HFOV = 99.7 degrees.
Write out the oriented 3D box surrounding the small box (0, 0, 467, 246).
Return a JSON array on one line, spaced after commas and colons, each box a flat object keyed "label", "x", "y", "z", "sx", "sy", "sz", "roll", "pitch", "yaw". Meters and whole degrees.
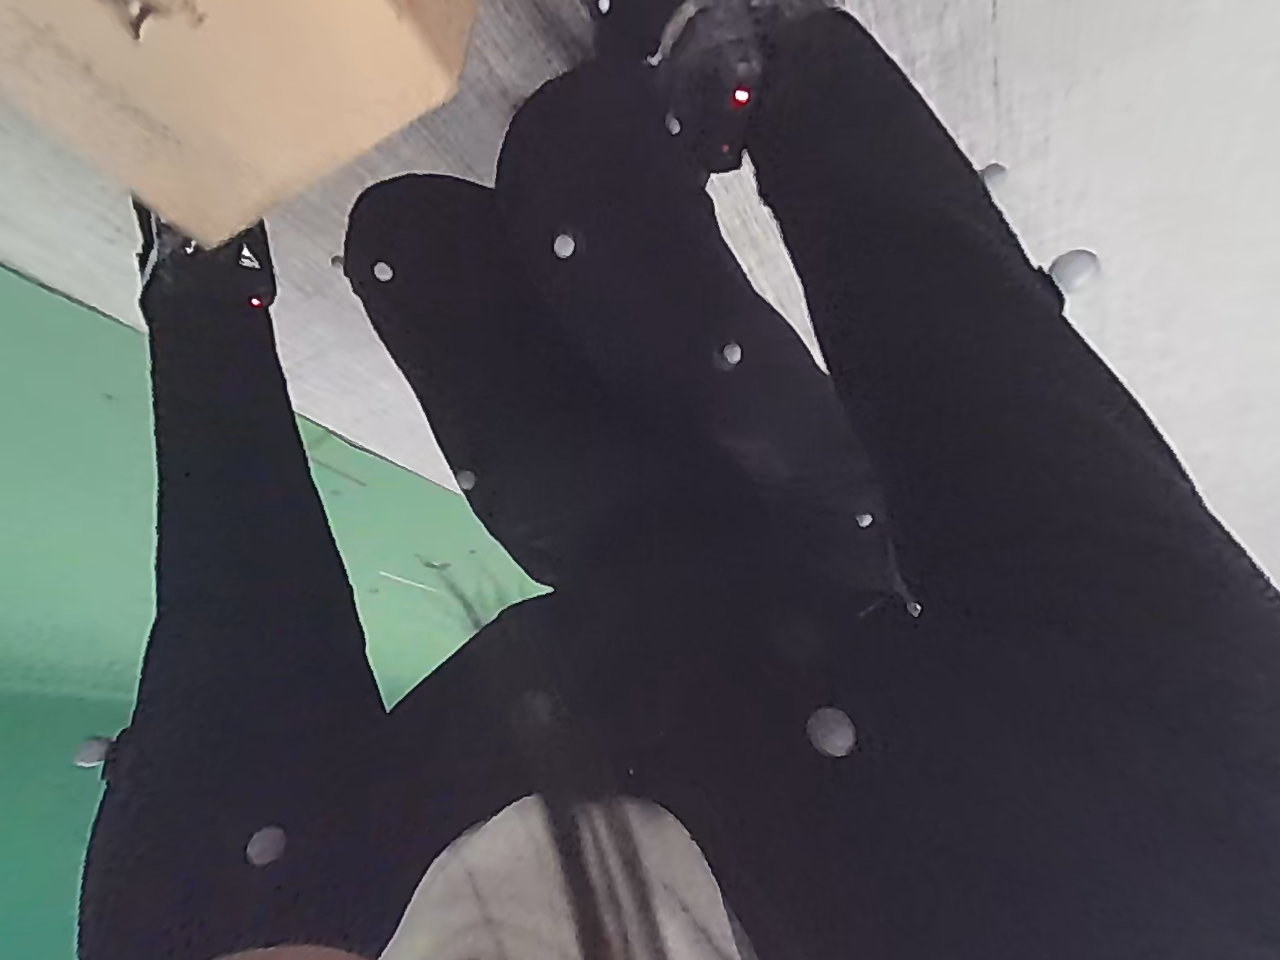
[{"label": "small box", "x": -0.197, "y": -0.255, "z": 0.247, "sx": 0.179, "sy": 0.176, "sz": 0.168, "roll": -15, "pitch": 148, "yaw": 21}]
